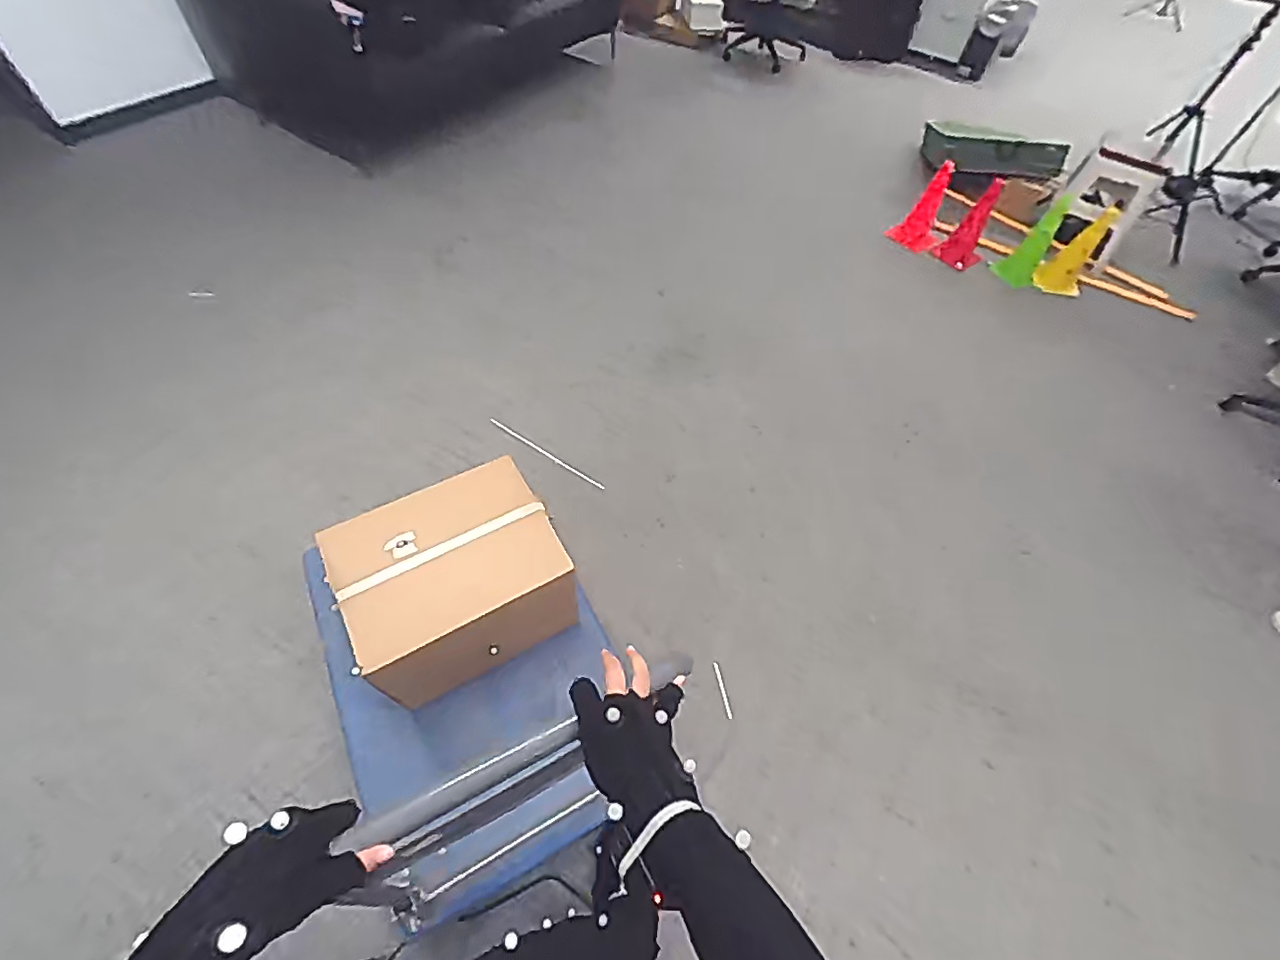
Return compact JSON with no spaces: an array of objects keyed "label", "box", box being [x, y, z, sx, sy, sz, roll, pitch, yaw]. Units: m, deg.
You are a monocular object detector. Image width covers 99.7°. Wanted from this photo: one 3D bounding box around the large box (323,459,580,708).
[{"label":"large box","box":[-0.380,0.225,1.172,0.408,0.320,0.320,-26,61,-19]}]
